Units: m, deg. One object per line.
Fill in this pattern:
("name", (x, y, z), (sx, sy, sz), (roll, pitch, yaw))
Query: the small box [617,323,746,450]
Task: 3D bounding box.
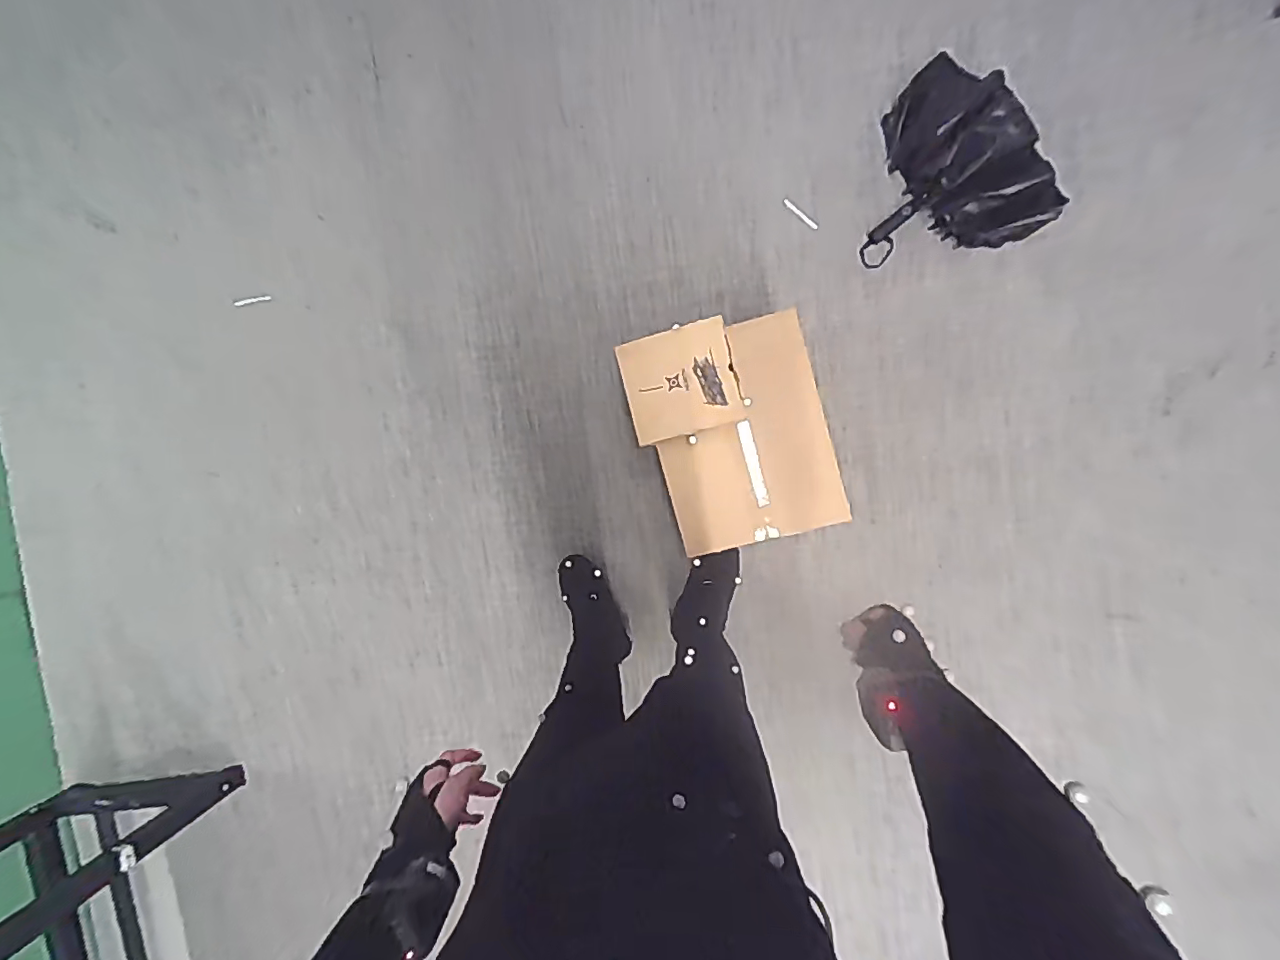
("small box", (0.078, -0.152, 0.925), (0.179, 0.176, 0.168), (-14, 91, 12))
